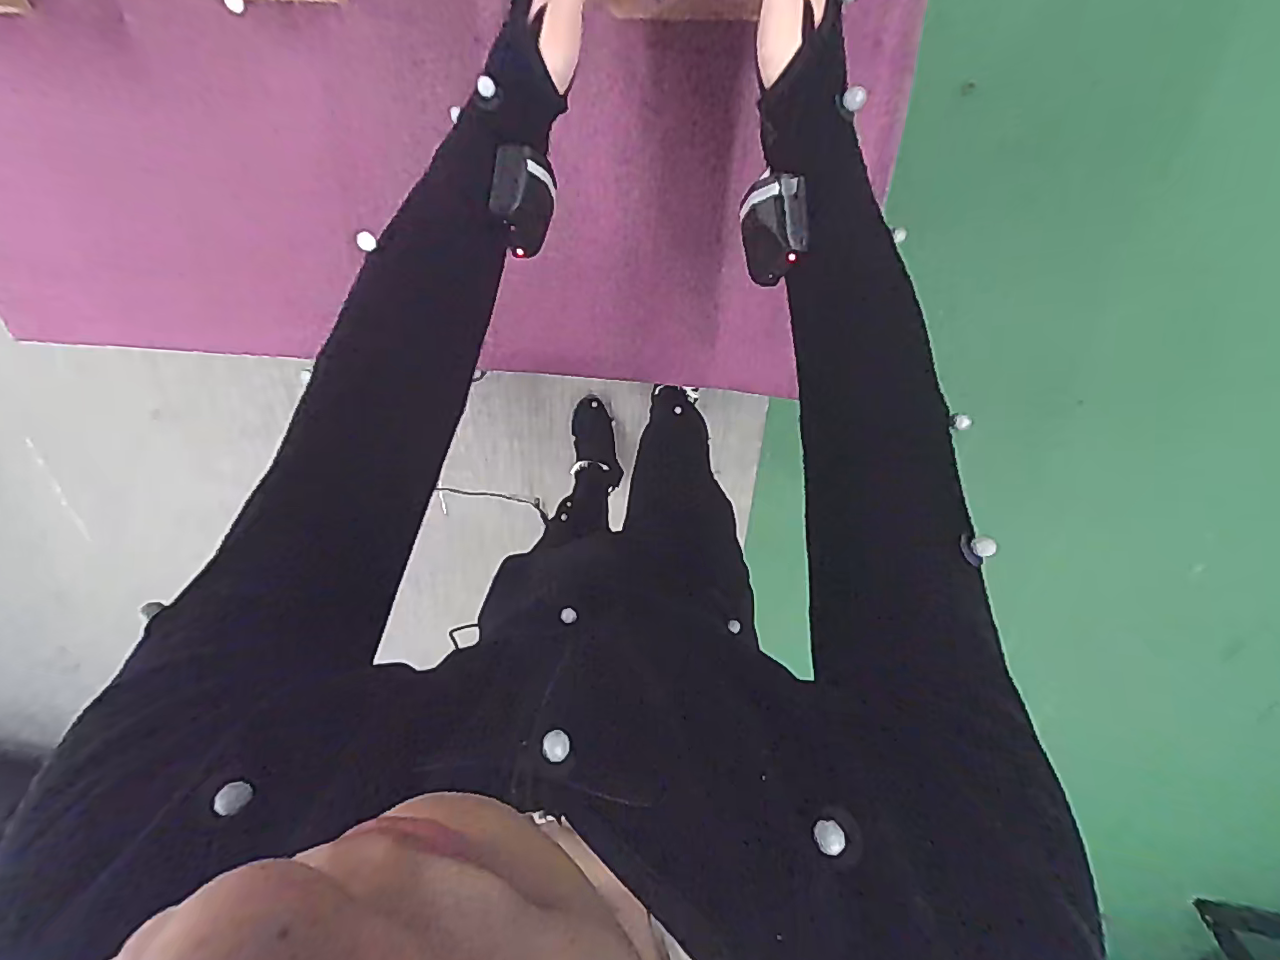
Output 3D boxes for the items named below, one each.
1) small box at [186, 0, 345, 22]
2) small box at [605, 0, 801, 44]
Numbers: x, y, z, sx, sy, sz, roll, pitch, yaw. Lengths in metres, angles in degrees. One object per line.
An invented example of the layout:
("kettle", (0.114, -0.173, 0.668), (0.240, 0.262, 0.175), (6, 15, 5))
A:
("small box", (-0.383, -0.519, 0.451), (0.168, 0.176, 0.179), (8, 122, 4))
("small box", (0.050, -0.467, 0.418), (0.168, 0.176, 0.179), (6, 121, 5))
